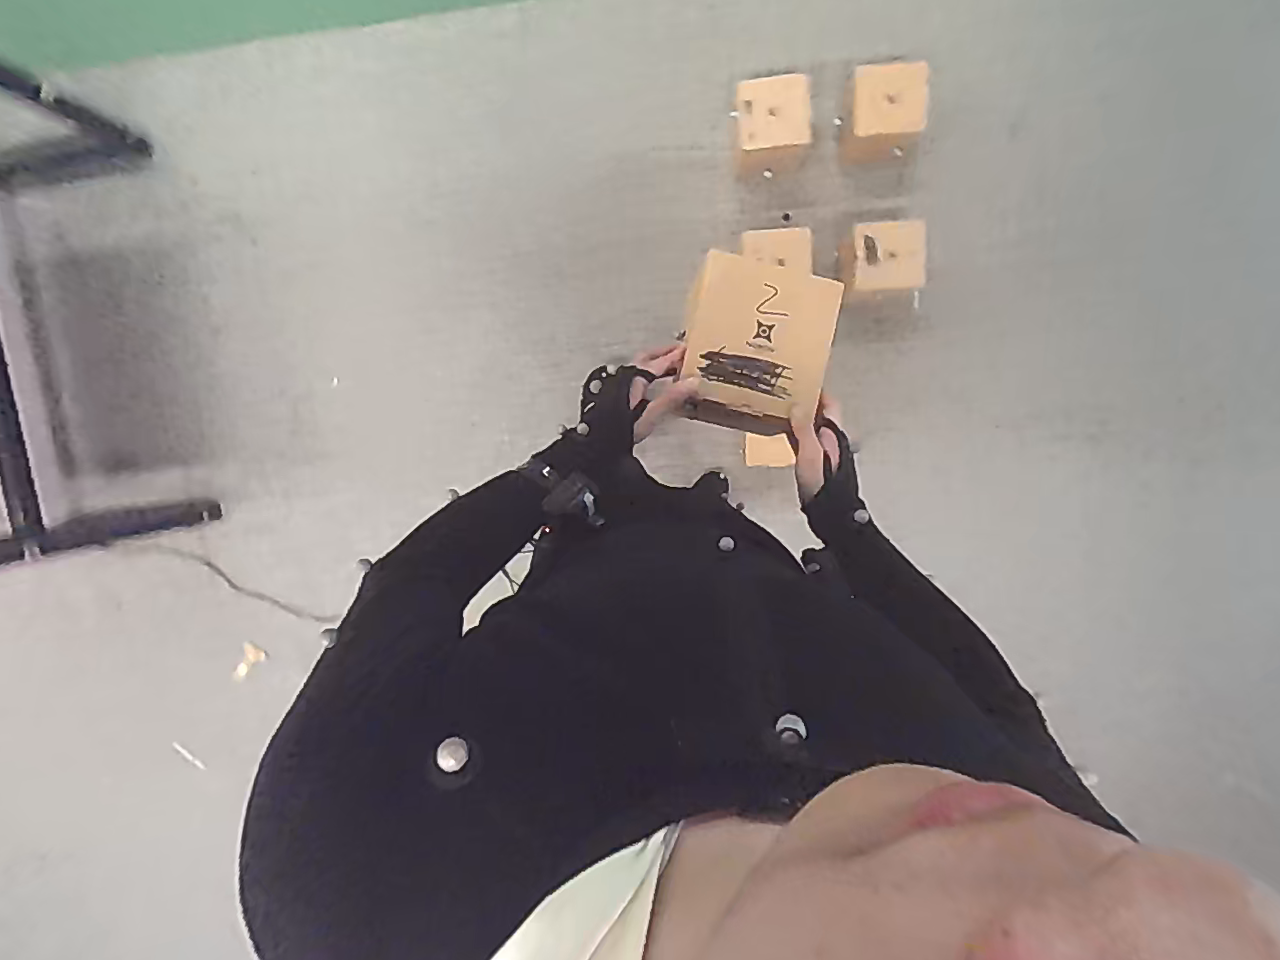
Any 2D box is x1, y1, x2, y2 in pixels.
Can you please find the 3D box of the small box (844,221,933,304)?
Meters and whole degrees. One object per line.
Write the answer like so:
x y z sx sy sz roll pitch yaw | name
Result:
0.651 -0.571 1.437 0.179 0.176 0.168 -1 96 5 | small box

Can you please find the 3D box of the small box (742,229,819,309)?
0.374 -0.564 1.462 0.179 0.176 0.168 -2 96 5 | small box

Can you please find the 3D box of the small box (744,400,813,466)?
0.382 -0.132 1.512 0.168 0.176 0.179 -1 97 5 | small box

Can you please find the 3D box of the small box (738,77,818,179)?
0.359 -0.919 1.424 0.179 0.176 0.168 -3 95 4 | small box
